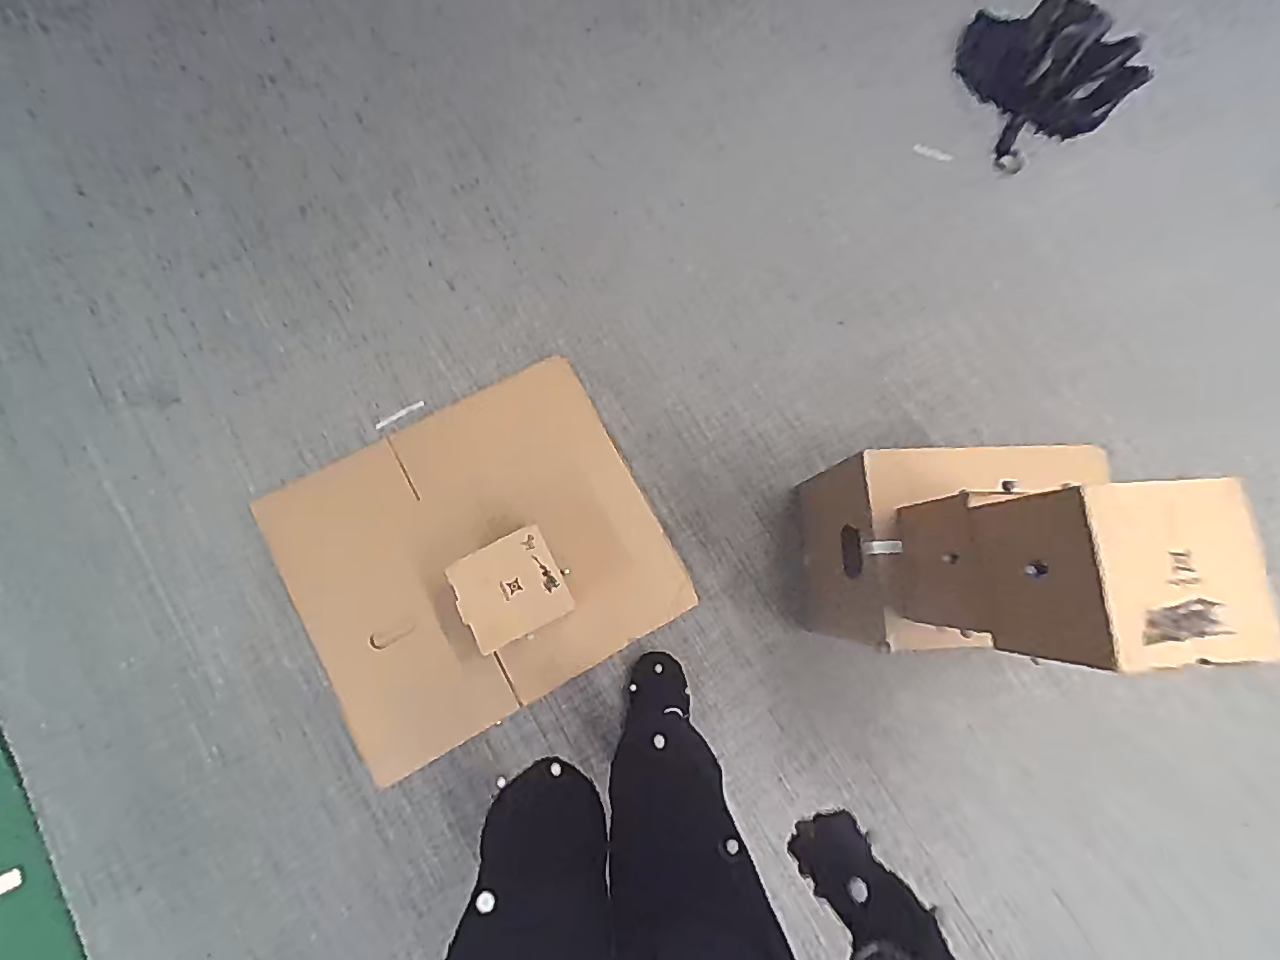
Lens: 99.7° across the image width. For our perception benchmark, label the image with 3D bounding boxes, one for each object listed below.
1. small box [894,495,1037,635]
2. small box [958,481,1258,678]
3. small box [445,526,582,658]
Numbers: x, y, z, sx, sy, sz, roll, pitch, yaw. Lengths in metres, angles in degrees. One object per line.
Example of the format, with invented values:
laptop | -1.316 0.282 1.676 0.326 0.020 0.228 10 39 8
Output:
small box | 0.479 0.122 0.763 0.168 0.176 0.179 1 81 -3
small box | 0.493 0.105 0.599 0.168 0.176 0.179 -6 81 -4
small box | -0.223 0.208 1.002 0.179 0.176 0.168 -30 79 -7
